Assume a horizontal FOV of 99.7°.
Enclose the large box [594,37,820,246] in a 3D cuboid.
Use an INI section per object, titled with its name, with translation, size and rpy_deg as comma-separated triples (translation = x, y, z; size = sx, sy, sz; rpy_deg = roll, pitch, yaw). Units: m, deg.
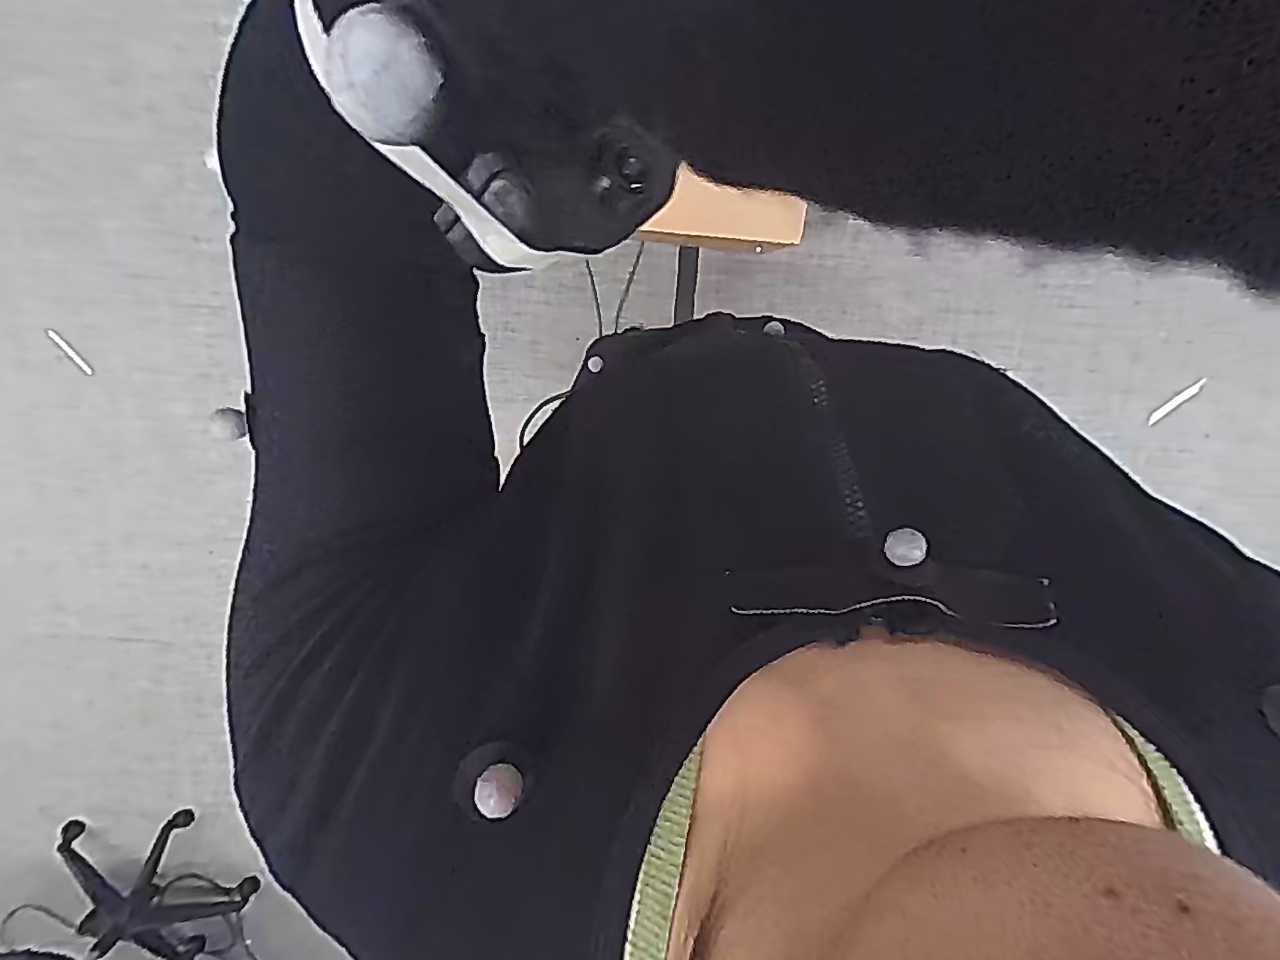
[large box]
translation = 0.120, -0.687, 1.159
size = 0.408, 0.320, 0.320
rpy_deg = 5, 110, -2
